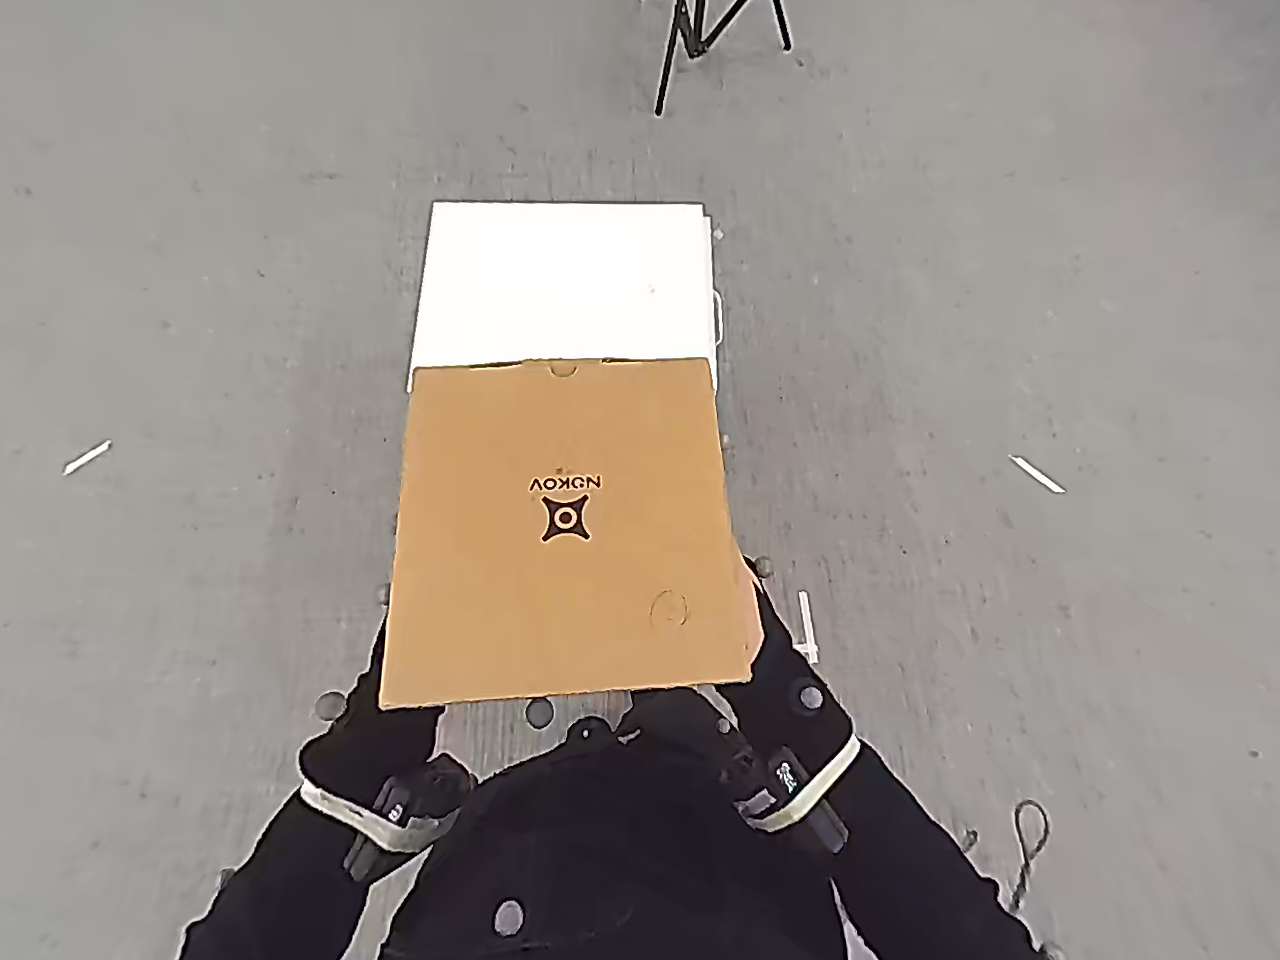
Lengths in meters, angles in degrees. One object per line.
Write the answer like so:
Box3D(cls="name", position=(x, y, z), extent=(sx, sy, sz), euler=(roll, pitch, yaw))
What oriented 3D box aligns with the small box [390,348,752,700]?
Box3D(cls="small box", position=(-0.037, 0.039, 0.344), extent=(0.168, 0.176, 0.179), euler=(-3, 68, -4))
